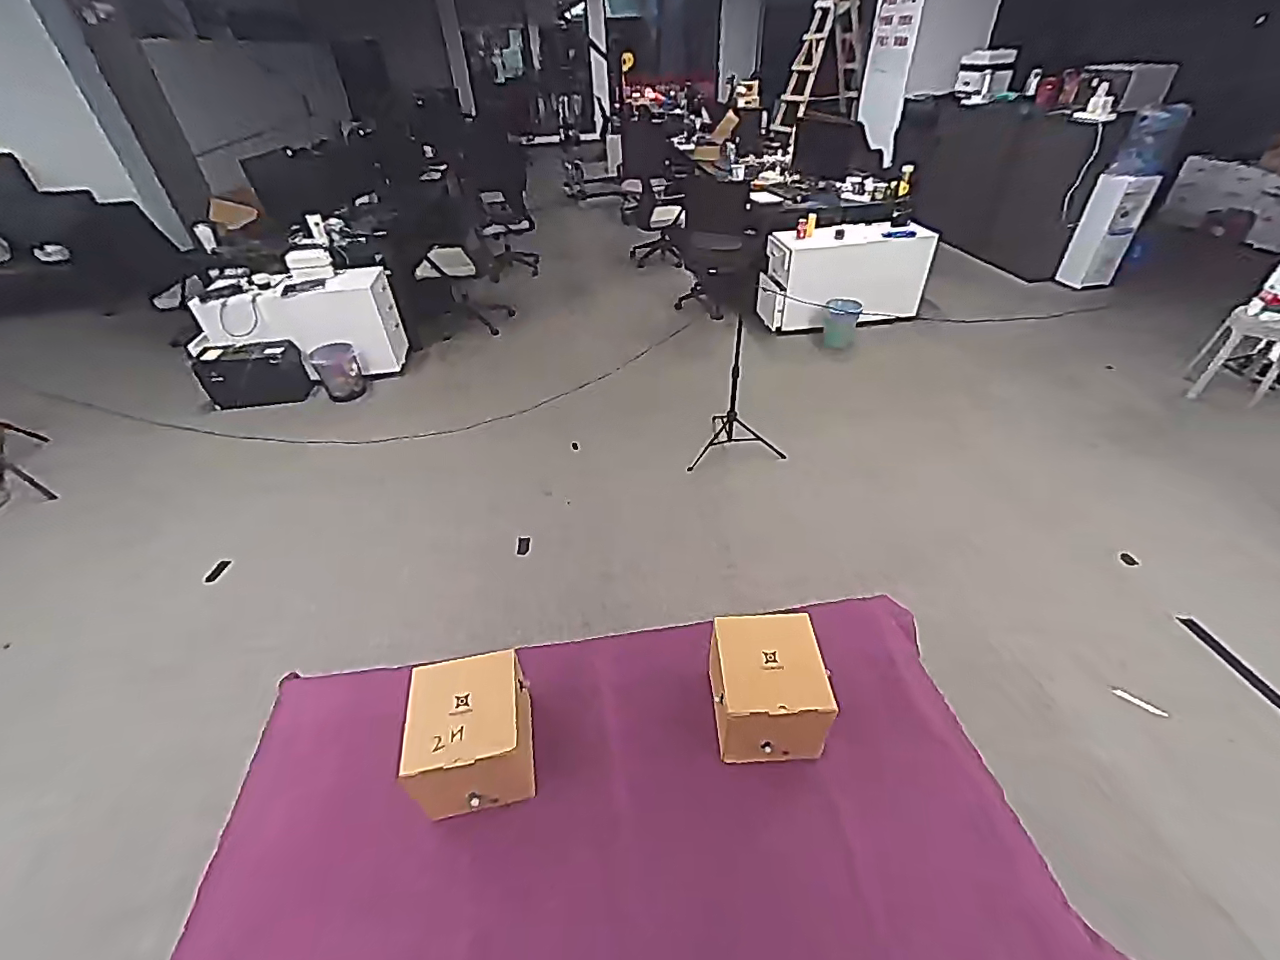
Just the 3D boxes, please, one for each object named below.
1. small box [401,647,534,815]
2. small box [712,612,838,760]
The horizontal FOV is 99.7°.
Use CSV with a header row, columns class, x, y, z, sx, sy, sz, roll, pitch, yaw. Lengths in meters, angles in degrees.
class,x,y,z,sx,sy,sz,roll,pitch,yaw
small box,-0.268,0.404,0.878,0.168,0.176,0.179,-9,40,-7
small box,0.216,0.348,0.919,0.168,0.176,0.179,-3,40,1
